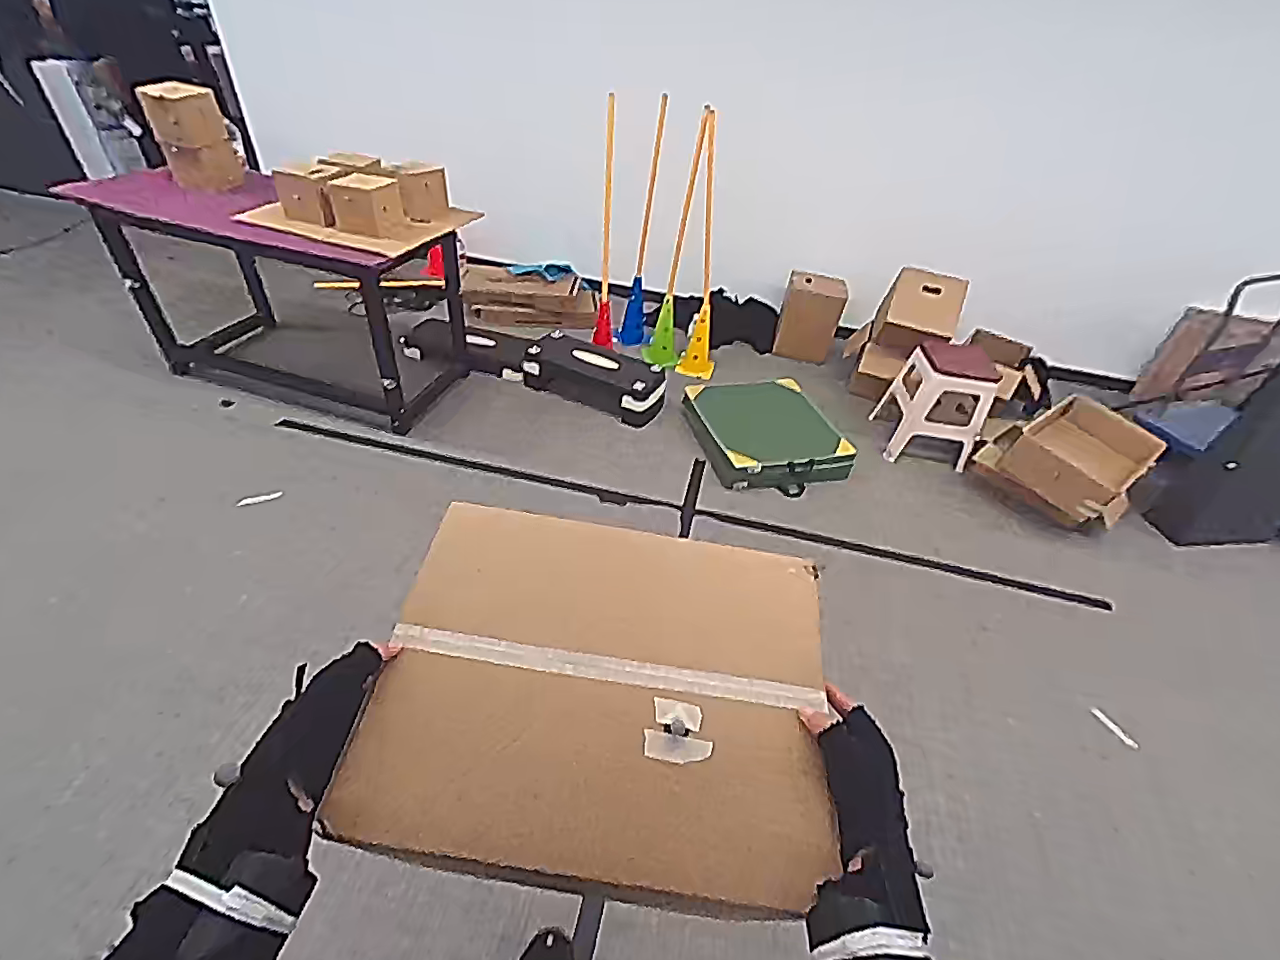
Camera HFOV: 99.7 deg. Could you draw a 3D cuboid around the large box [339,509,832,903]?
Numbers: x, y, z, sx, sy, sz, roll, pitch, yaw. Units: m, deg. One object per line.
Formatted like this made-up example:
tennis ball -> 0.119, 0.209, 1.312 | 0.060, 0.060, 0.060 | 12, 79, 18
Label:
large box -> -0.043, 0.271, 0.633 | 0.408, 0.320, 0.320 | 10, 51, 0
